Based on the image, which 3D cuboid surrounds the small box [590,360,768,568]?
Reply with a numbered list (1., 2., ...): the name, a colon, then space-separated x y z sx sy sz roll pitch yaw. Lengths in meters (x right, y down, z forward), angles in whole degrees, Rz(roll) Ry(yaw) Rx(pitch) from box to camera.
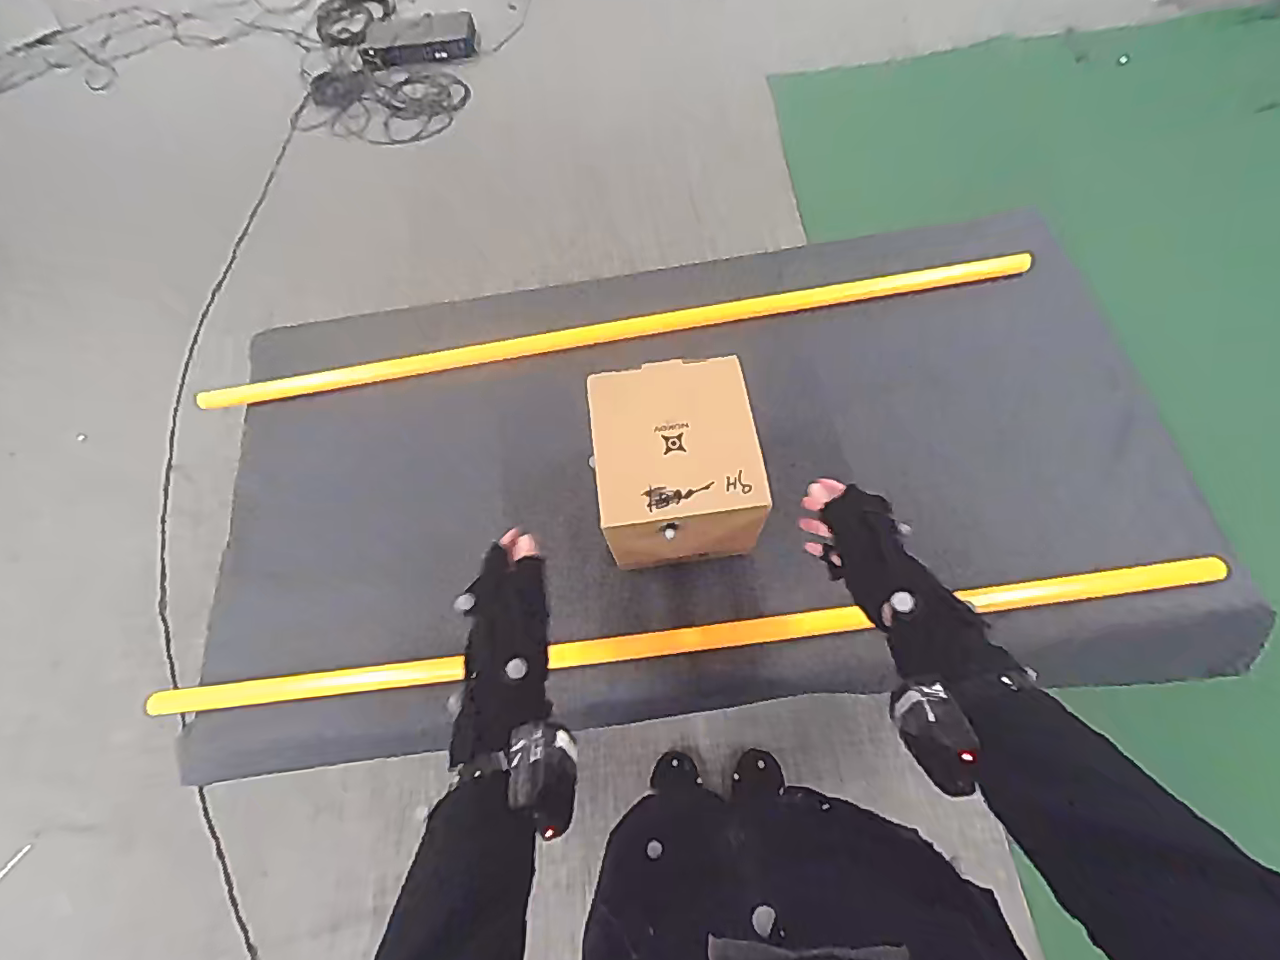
1. small box: 0.039 -0.011 0.627 0.168 0.176 0.179 -8 66 2
